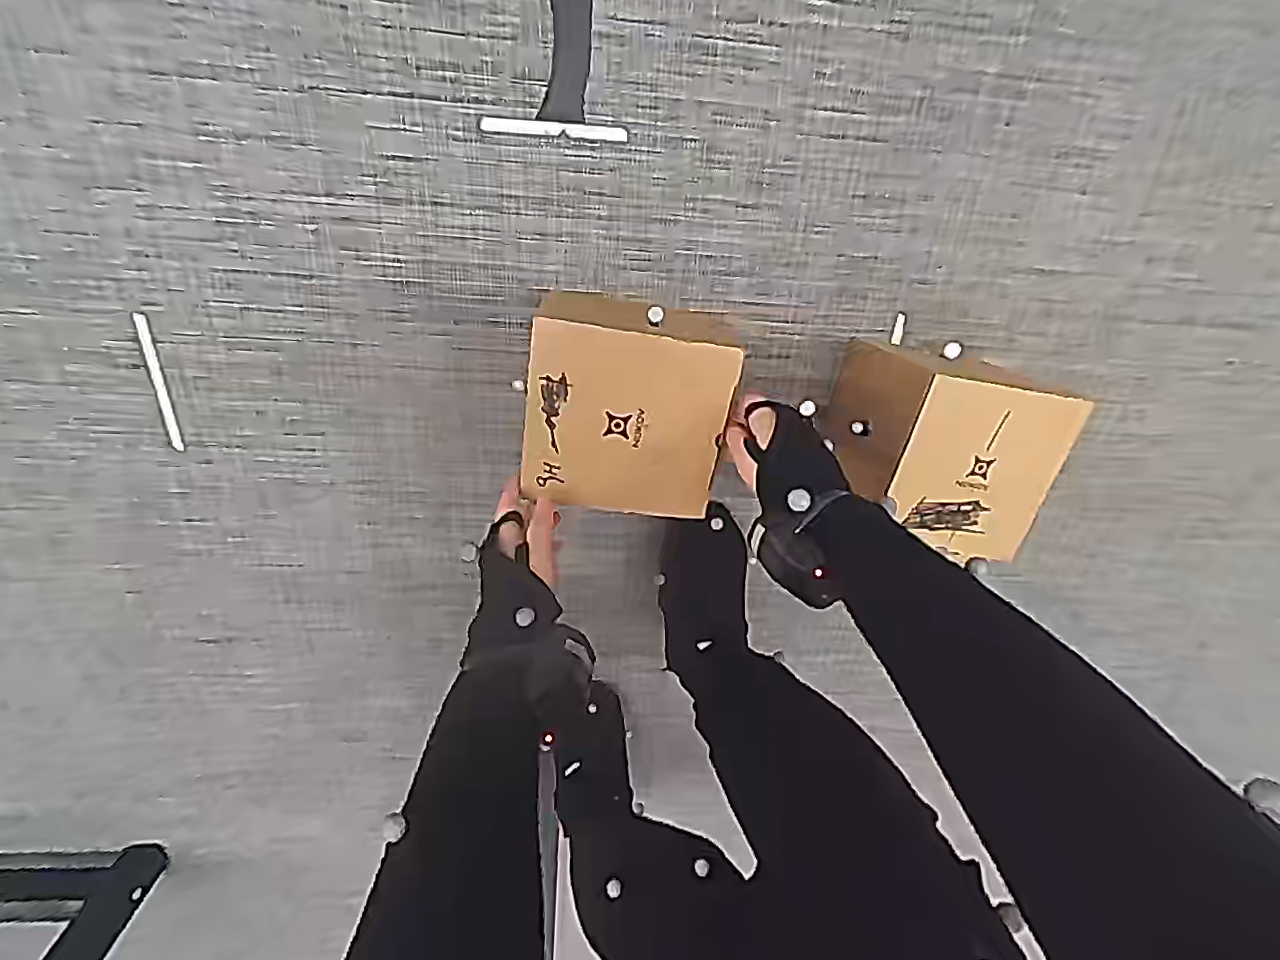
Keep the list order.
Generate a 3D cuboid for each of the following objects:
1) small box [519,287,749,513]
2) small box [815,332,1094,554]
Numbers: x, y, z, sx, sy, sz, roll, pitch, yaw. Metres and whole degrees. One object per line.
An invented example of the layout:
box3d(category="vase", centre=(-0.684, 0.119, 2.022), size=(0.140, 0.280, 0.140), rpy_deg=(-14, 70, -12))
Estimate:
box3d(category="small box", centre=(-0.016, -0.086, 0.531), size=(0.179, 0.176, 0.168), rpy_deg=(7, 115, -8))
box3d(category="small box", centre=(0.310, -0.046, 0.583), size=(0.168, 0.176, 0.179), rpy_deg=(8, 114, -9))
